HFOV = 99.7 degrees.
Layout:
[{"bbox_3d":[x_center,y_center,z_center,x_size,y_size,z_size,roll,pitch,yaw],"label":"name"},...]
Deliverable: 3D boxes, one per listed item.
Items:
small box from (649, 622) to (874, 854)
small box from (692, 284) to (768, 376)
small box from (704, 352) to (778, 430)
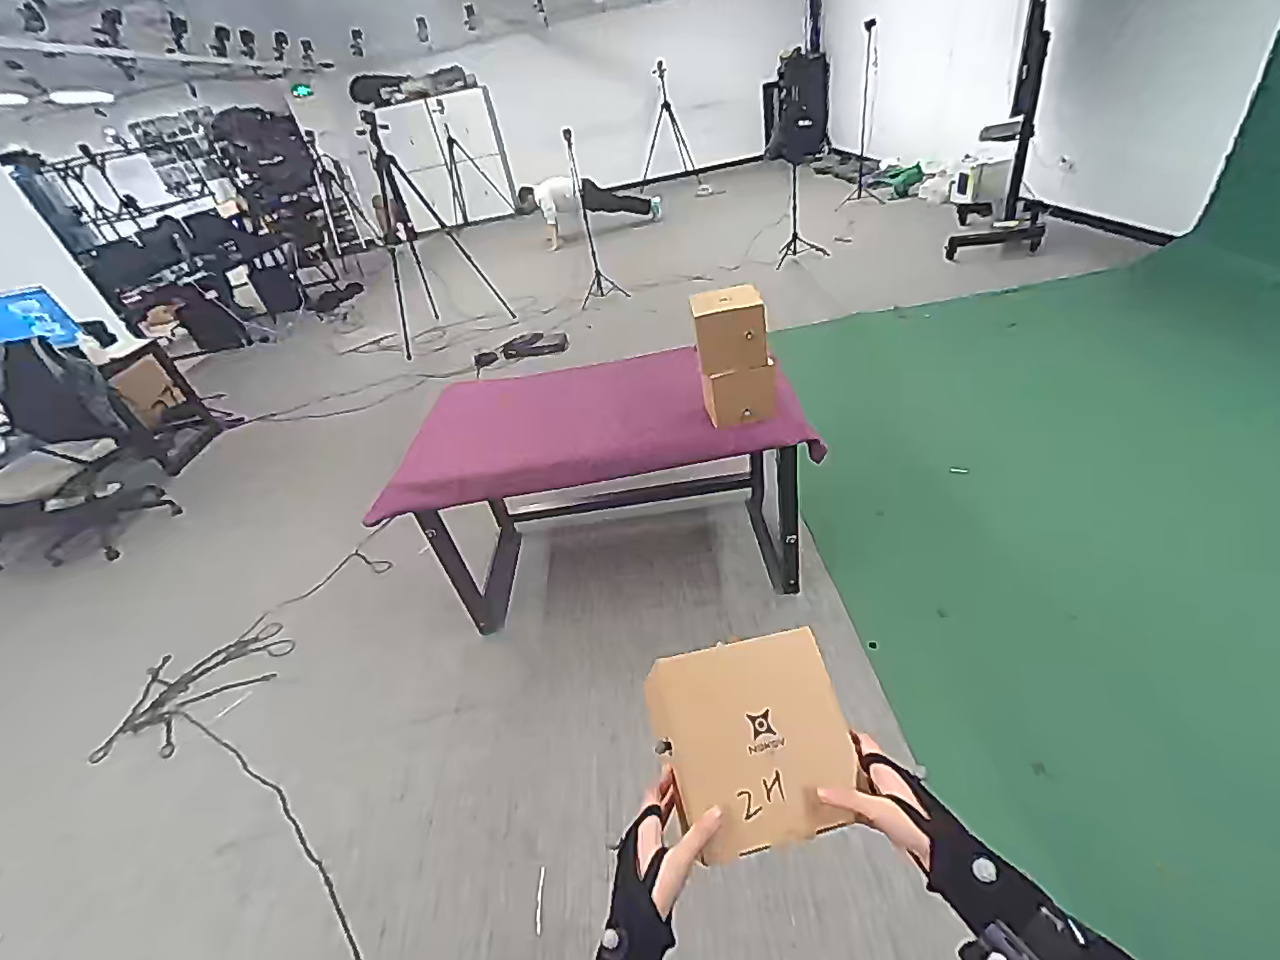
[{"bbox_3d":[0.109,0.271,0.579,0.168,0.176,0.179,-9,63,-9],"label":"small box"},{"bbox_3d":[0.238,-0.394,1.429,0.179,0.176,0.168,-9,36,7],"label":"small box"},{"bbox_3d":[0.280,-0.263,1.518,0.179,0.176,0.168,-12,36,2],"label":"small box"}]
